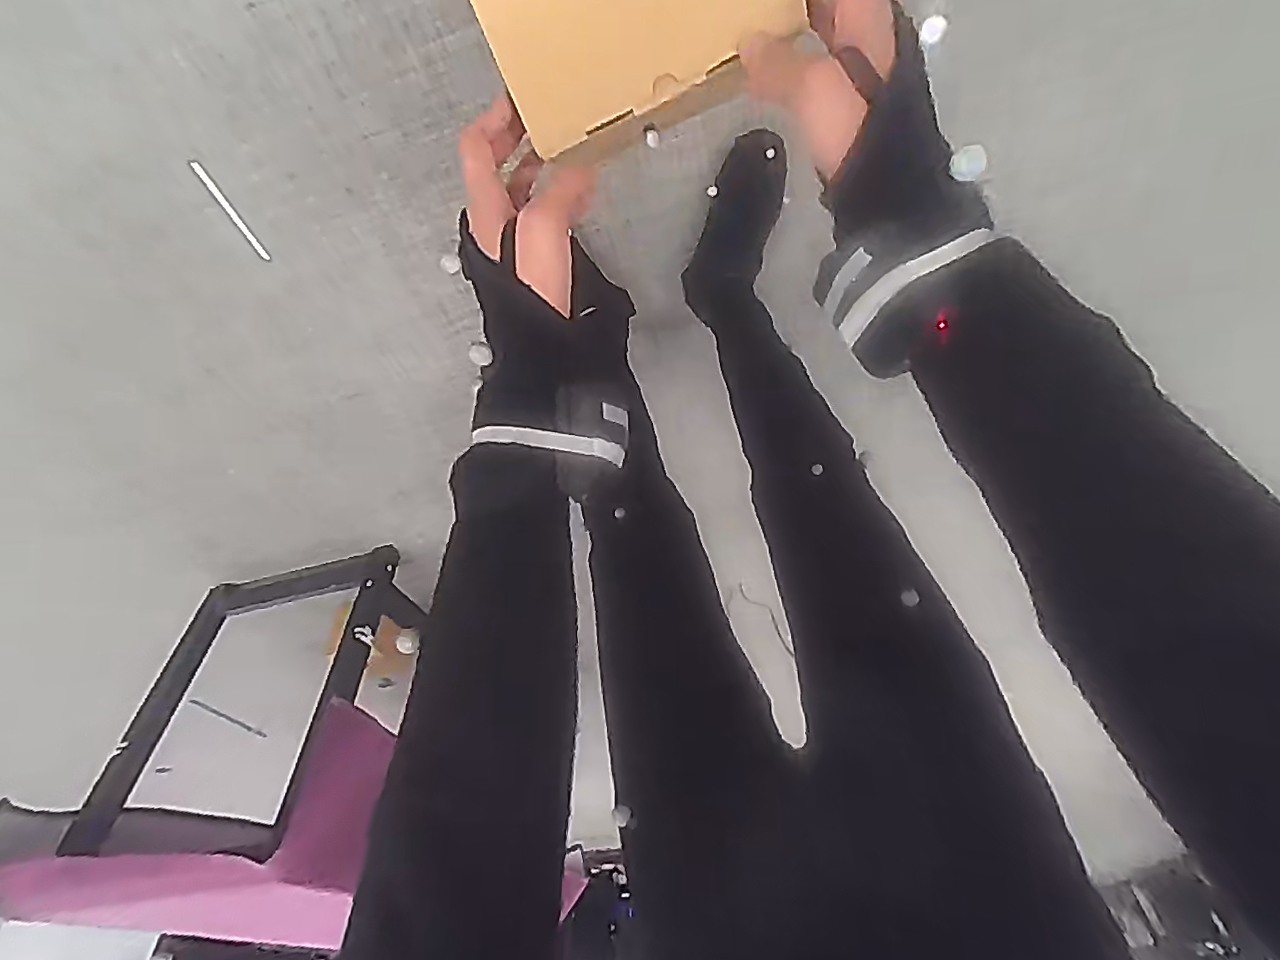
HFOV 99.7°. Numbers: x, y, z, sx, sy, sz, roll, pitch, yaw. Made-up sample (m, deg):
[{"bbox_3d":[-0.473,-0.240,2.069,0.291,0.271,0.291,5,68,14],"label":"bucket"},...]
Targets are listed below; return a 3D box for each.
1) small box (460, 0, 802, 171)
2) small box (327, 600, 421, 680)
[{"bbox_3d":[-0.020,-0.317,0.336,0.168,0.176,0.179,-21,116,12],"label":"small box"},{"bbox_3d":[-0.789,0.475,1.623,0.168,0.176,0.179,-12,136,9],"label":"small box"}]
